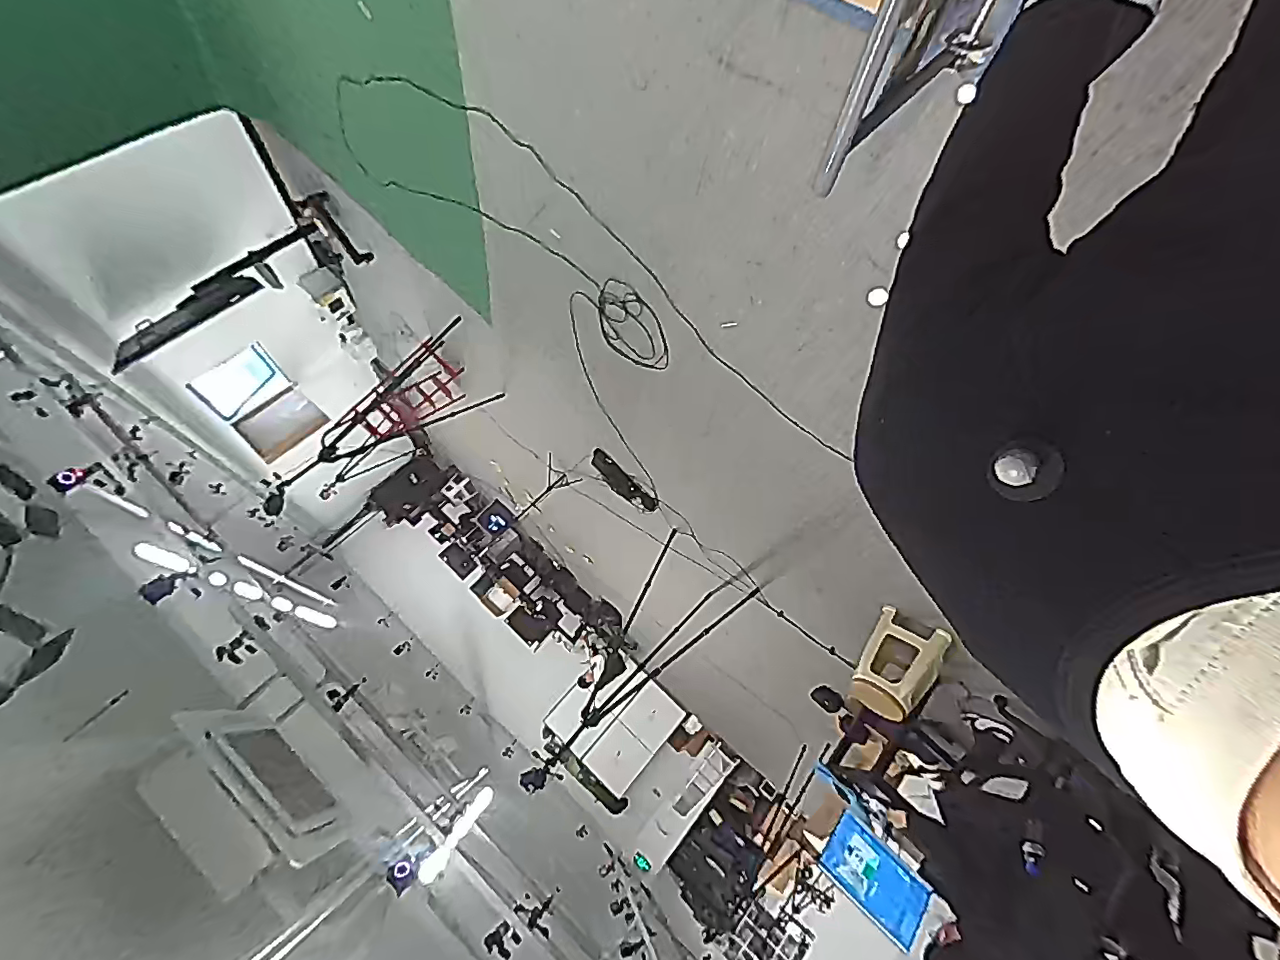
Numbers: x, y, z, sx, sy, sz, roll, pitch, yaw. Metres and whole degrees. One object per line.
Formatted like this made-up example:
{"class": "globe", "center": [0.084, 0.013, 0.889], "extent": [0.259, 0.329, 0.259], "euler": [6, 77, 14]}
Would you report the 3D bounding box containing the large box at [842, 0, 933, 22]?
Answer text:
{"class": "large box", "center": [0.386, -1.024, 0.850], "extent": [0.408, 0.320, 0.320], "euler": [40, 156, 15]}
